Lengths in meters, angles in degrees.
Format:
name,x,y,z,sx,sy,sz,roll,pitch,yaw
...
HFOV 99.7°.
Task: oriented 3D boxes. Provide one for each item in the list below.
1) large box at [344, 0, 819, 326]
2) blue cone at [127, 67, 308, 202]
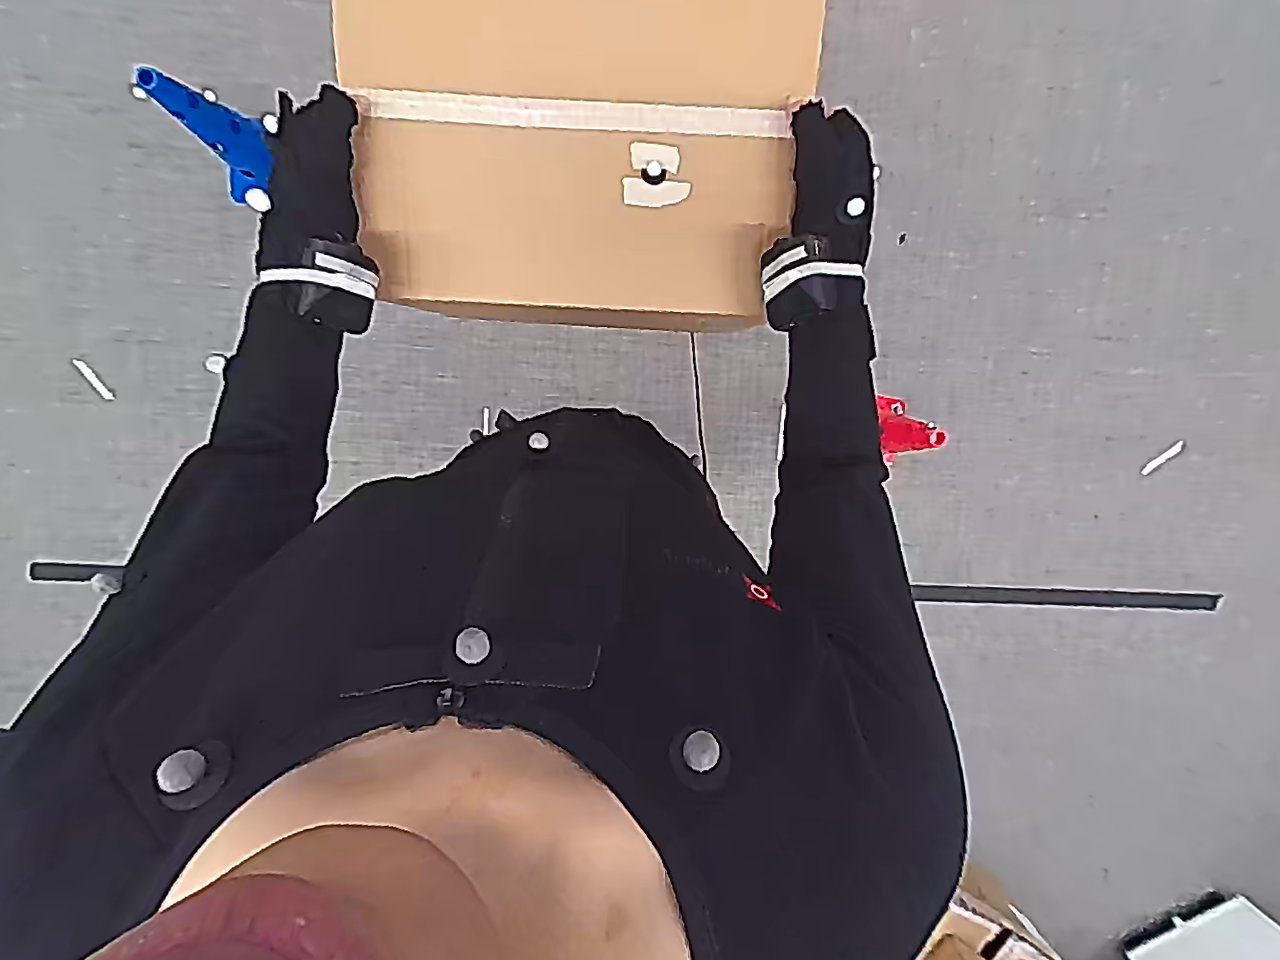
name,x,y,z,sx,sy,sz,roll,pitch,yaw
large box,-0.055,-0.350,0.614,0.408,0.320,0.320,2,103,-2
blue cone,-0.919,-0.769,1.180,0.192,0.380,0.193,6,98,-1
